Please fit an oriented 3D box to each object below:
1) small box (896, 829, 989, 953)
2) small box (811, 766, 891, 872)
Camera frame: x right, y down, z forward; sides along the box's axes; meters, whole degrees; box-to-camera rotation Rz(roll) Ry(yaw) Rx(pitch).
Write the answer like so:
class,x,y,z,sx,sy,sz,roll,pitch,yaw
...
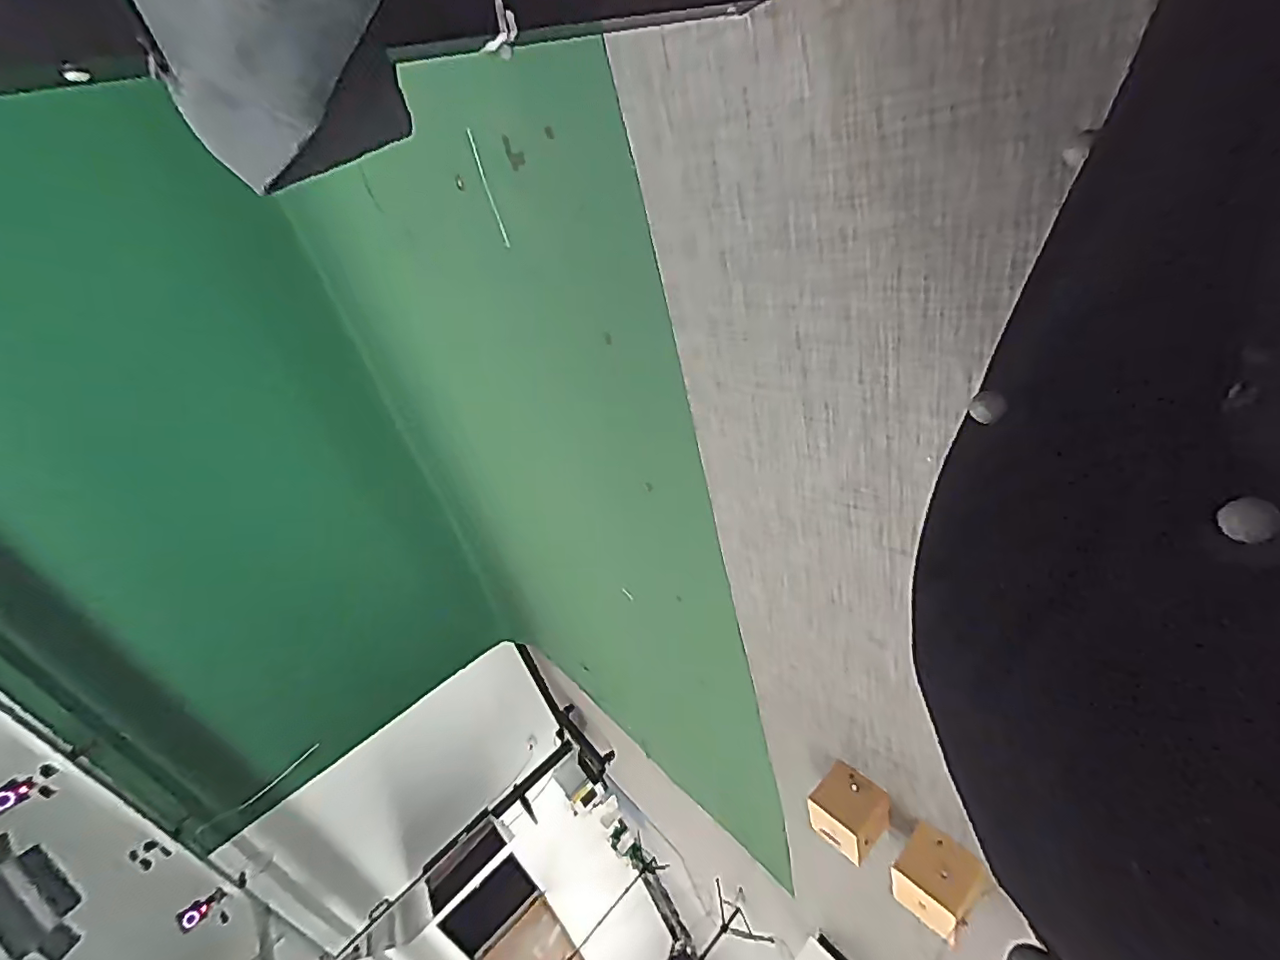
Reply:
class,x,y,z,sx,sy,sz,roll,pitch,yaw
small box,0.812,1.092,1.452,0.168,0.176,0.179,20,136,49
small box,0.644,1.022,1.643,0.168,0.176,0.179,21,135,48
